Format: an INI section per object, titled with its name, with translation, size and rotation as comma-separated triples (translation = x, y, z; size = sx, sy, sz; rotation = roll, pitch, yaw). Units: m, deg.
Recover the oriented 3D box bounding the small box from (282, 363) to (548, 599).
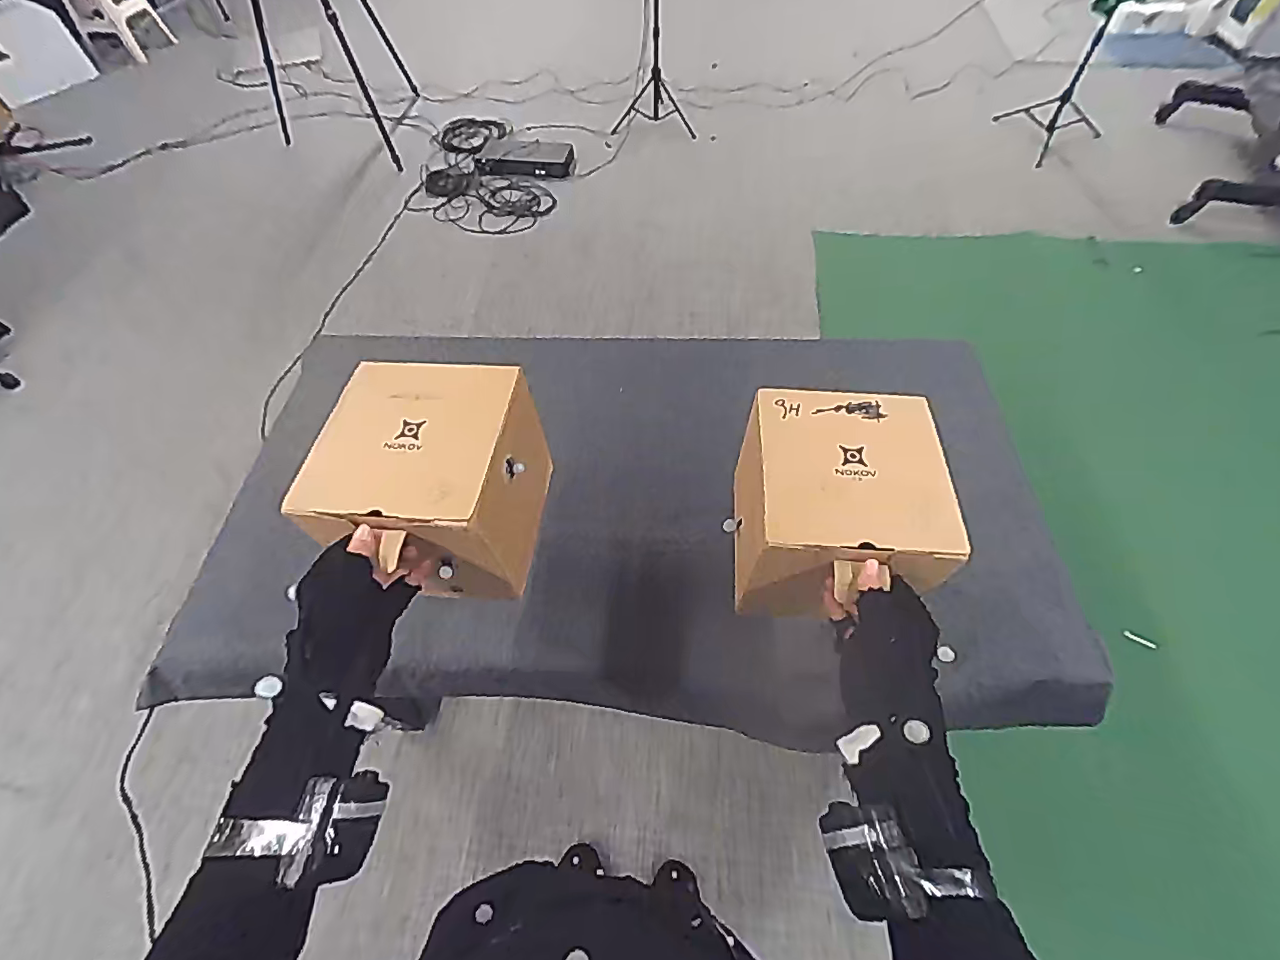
[small box]
translation = -0.198, 0.006, 0.542
size = 0.168, 0.176, 0.179
rotation = 3, 55, 5
